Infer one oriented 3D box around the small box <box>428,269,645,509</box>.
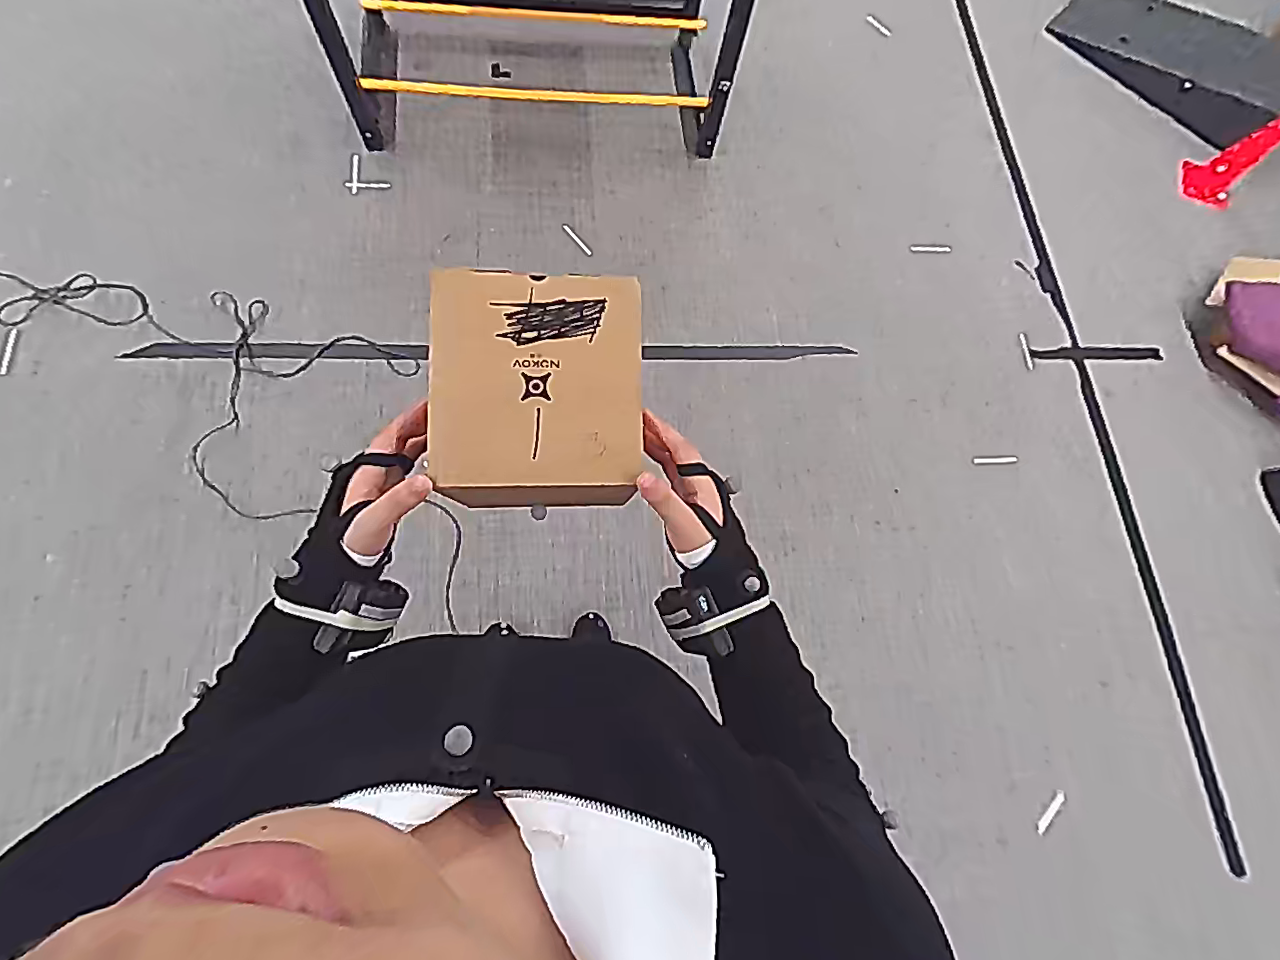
[{"bbox_3d":[-0.088,-0.069,0.499,0.168,0.176,0.179,-1,82,-6],"label":"small box"}]
